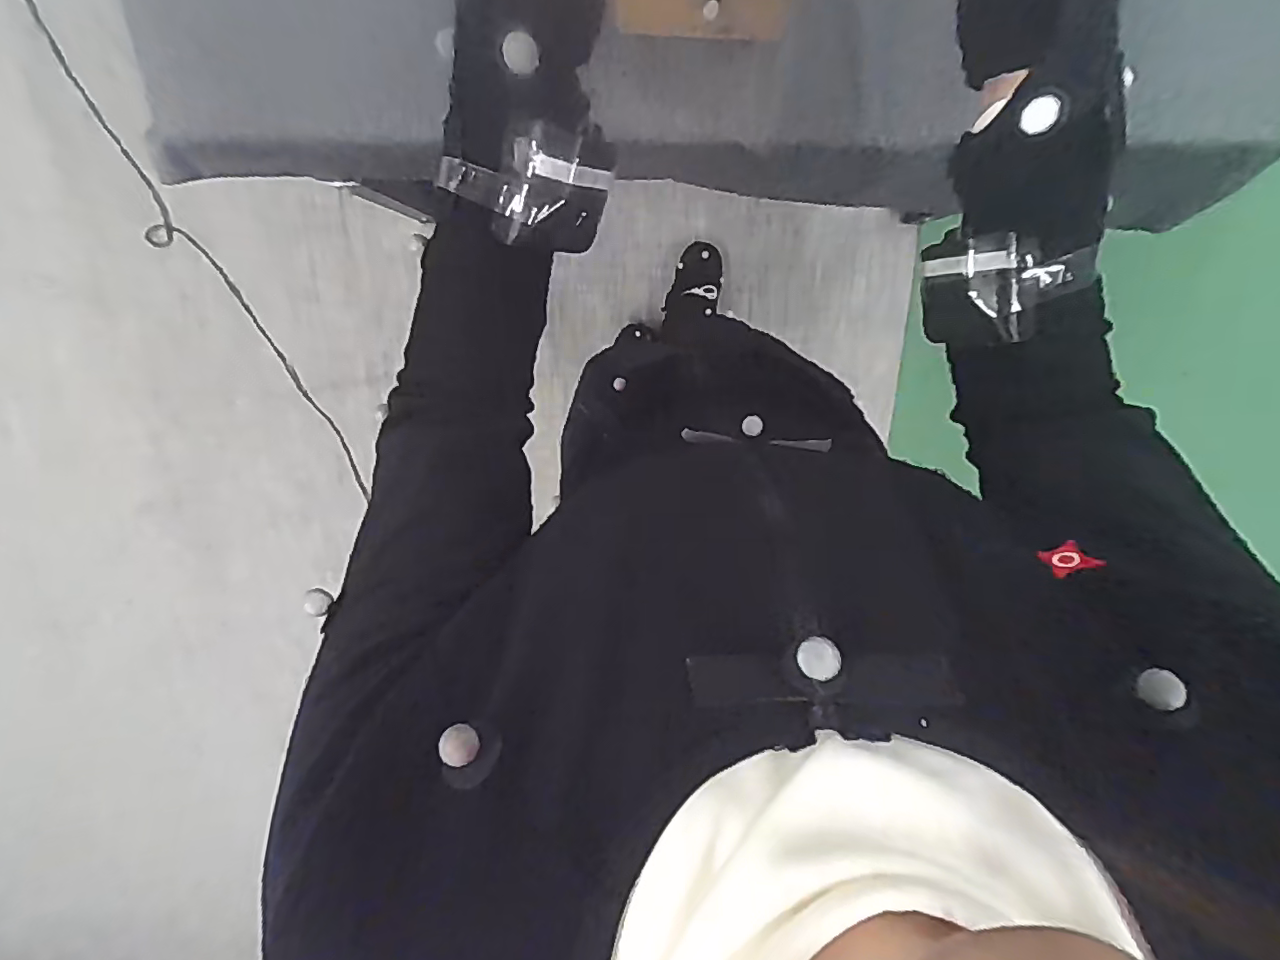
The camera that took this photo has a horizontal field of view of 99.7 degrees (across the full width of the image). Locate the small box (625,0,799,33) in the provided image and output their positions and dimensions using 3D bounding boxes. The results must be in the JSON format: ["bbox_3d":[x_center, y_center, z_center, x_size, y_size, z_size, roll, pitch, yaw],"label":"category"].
[{"bbox_3d":[0.068,-0.504,0.442,0.168,0.176,0.179,0,108,-1],"label":"small box"}]
